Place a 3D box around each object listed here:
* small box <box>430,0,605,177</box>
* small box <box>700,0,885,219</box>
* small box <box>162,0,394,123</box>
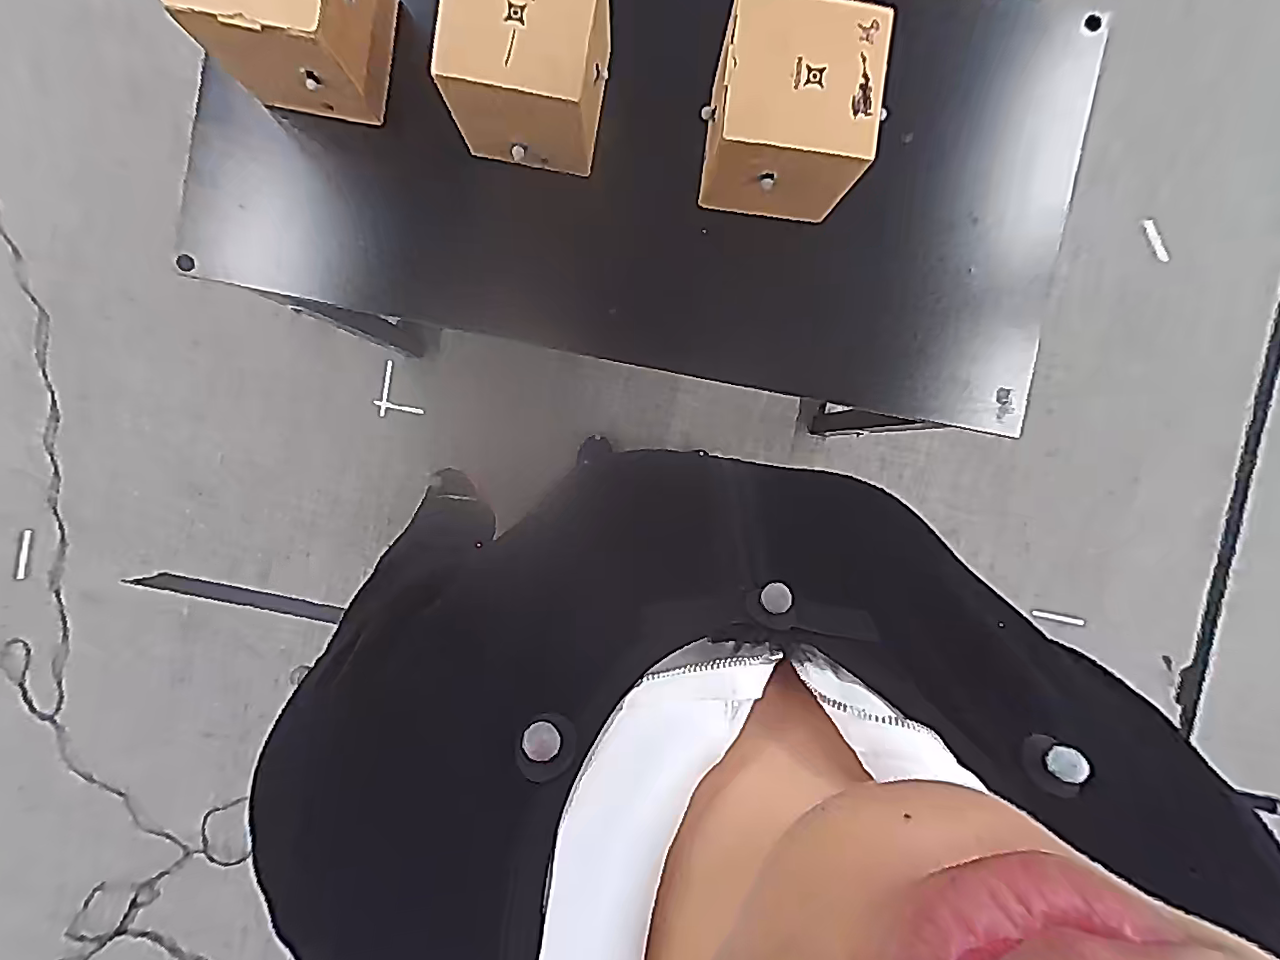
[{"bbox_3d":[-0.137,-0.514,0.664,0.168,0.176,0.179,10,93,-2],"label":"small box"},{"bbox_3d":[0.175,-0.450,0.678,0.179,0.176,0.168,6,93,-1],"label":"small box"},{"bbox_3d":[-0.417,-0.574,0.652,0.168,0.176,0.179,9,92,-4],"label":"small box"}]
